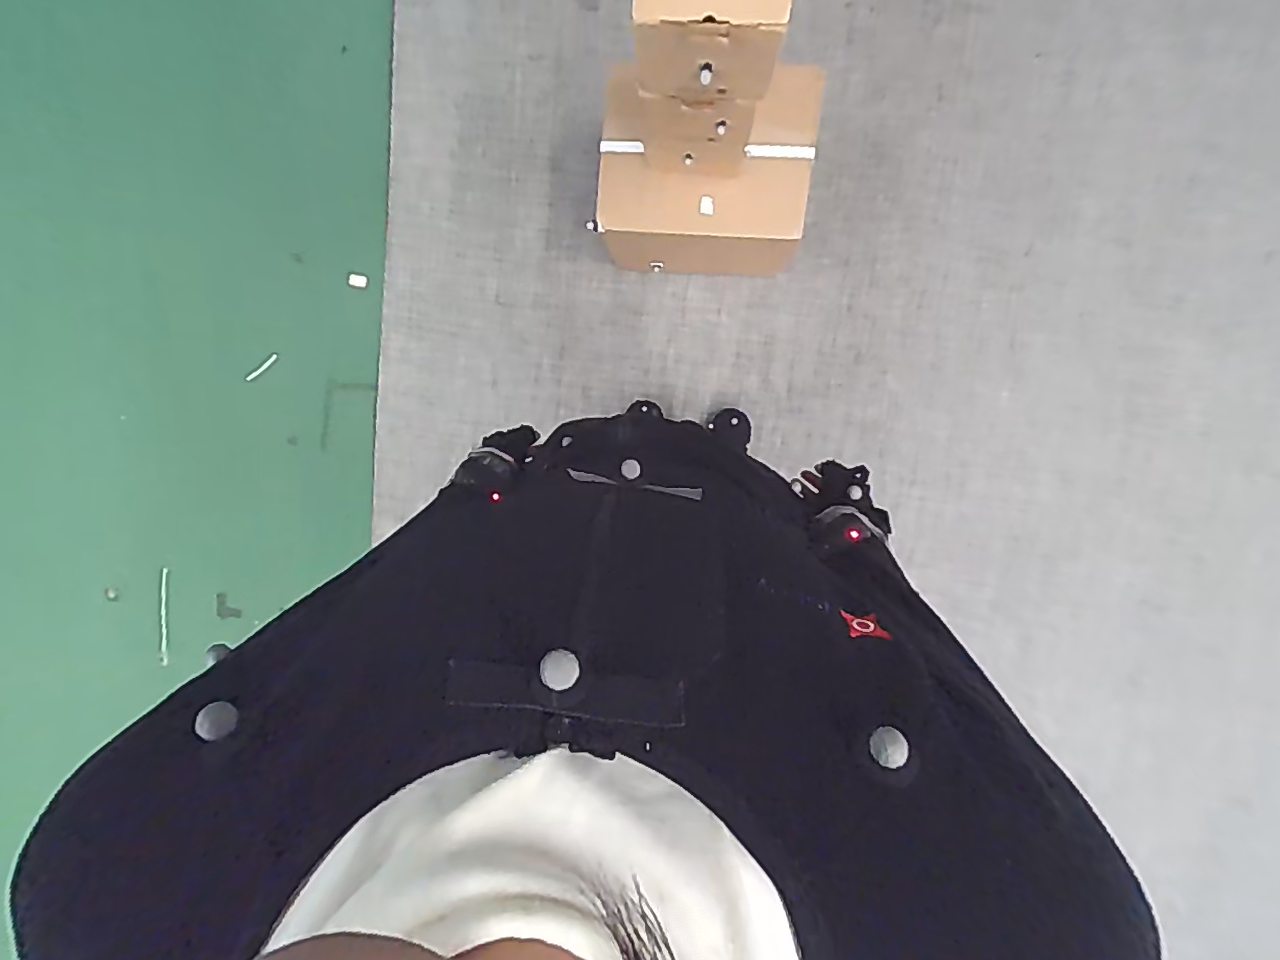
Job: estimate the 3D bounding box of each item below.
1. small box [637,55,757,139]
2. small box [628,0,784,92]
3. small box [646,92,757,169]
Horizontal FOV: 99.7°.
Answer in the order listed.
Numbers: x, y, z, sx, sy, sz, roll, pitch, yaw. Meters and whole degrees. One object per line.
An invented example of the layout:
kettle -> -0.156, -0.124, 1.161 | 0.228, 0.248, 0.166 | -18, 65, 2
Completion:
small box -> 0.092, -0.619, 0.783 | 0.168, 0.176, 0.179 | 6, 103, 5
small box -> 0.085, -0.581, 0.624 | 0.168, 0.176, 0.179 | 7, 105, 5
small box -> 0.109, -0.656, 0.939 | 0.179, 0.176, 0.168 | 5, 105, 5
